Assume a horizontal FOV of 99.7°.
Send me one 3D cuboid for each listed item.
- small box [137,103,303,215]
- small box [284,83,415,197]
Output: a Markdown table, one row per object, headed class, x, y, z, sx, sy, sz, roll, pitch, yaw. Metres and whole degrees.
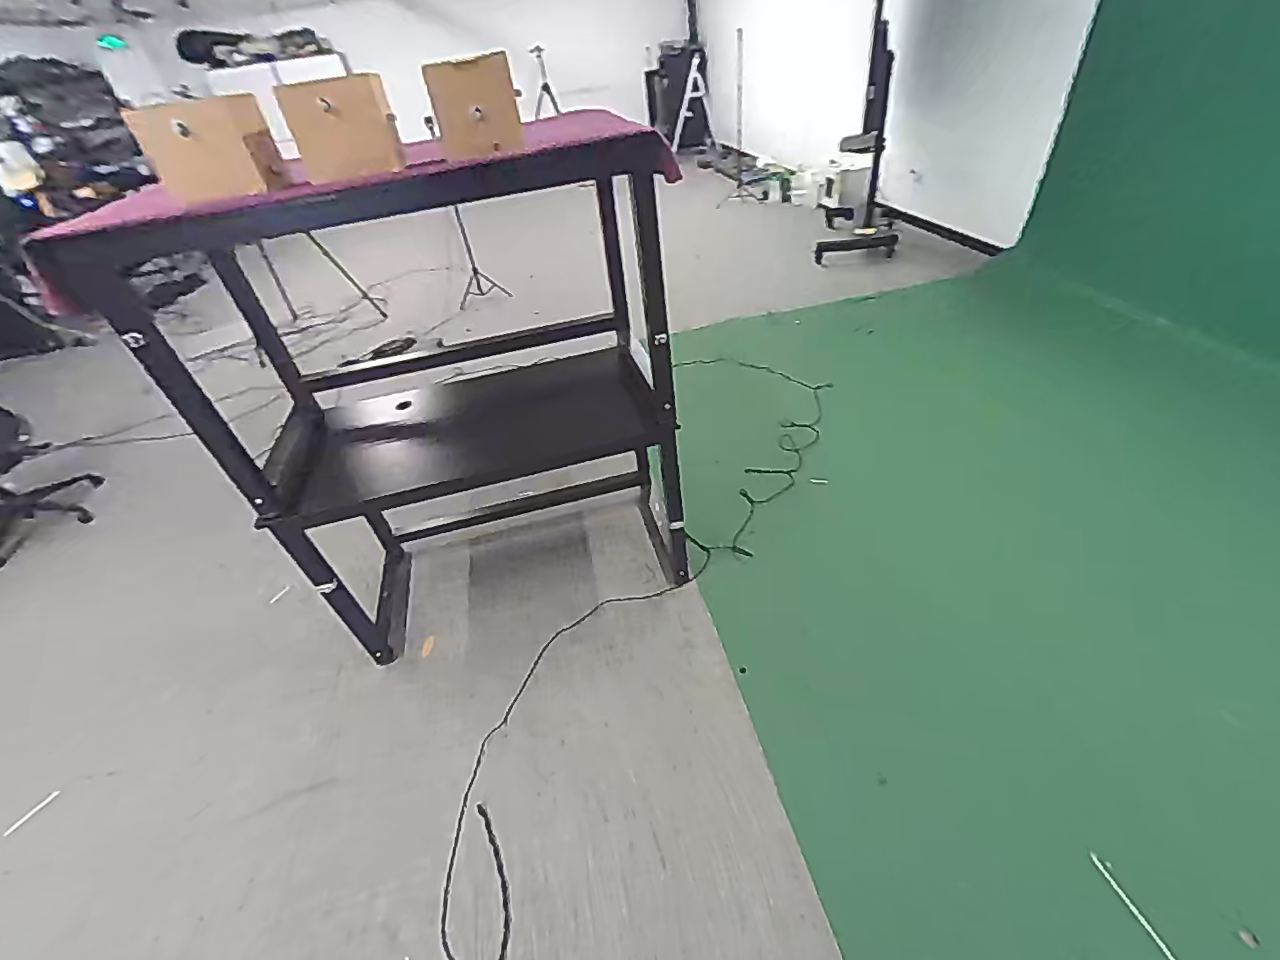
| class | x | y | z | sx | sy | sz | roll | pitch | yaw |
| --- | --- | --- | --- | --- | --- | --- | --- | --- | --- |
| small box | -0.830 | -0.647 | 1.090 | 0.179 | 0.176 | 0.168 | -12 | 38 | -5 |
| small box | -0.584 | -0.704 | 1.117 | 0.179 | 0.176 | 0.168 | -15 | 38 | -6 |
